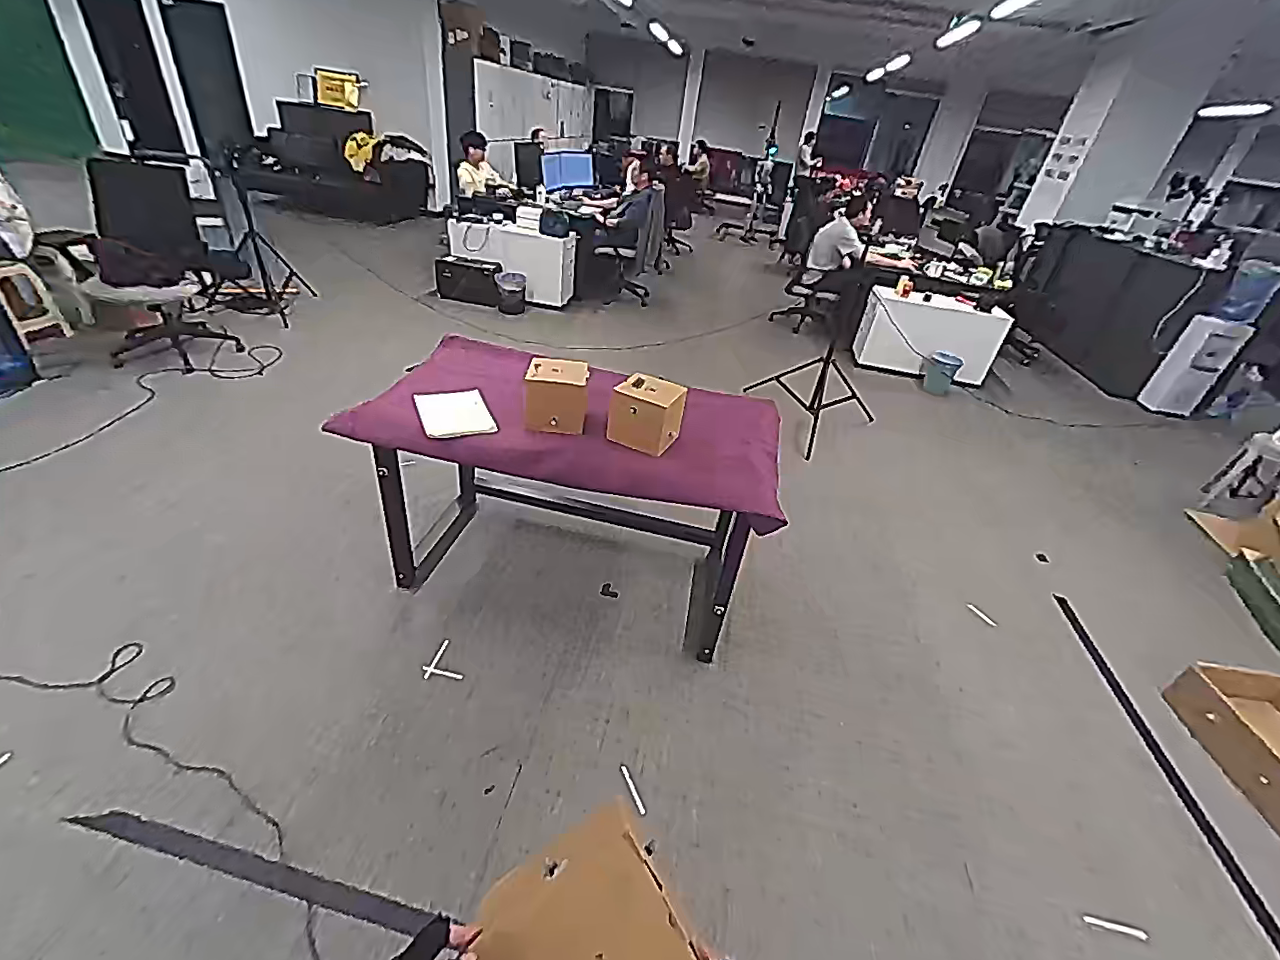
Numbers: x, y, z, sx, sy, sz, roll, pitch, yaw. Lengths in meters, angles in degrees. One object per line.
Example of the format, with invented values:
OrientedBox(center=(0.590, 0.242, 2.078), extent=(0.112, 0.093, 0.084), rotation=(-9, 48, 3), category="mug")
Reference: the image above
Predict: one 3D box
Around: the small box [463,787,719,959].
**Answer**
OrientedBox(center=(-0.044, 0.439, 0.535), extent=(0.179, 0.176, 0.168), rotation=(-30, 74, -14), category="small box")

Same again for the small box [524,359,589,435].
OrientedBox(center=(-0.254, -0.252, 1.656), extent=(0.179, 0.176, 0.168), rotation=(5, 33, -5), category="small box")

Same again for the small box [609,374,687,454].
OrientedBox(center=(0.019, -0.198, 1.629), extent=(0.179, 0.176, 0.168), rotation=(20, 35, 17), category="small box")
